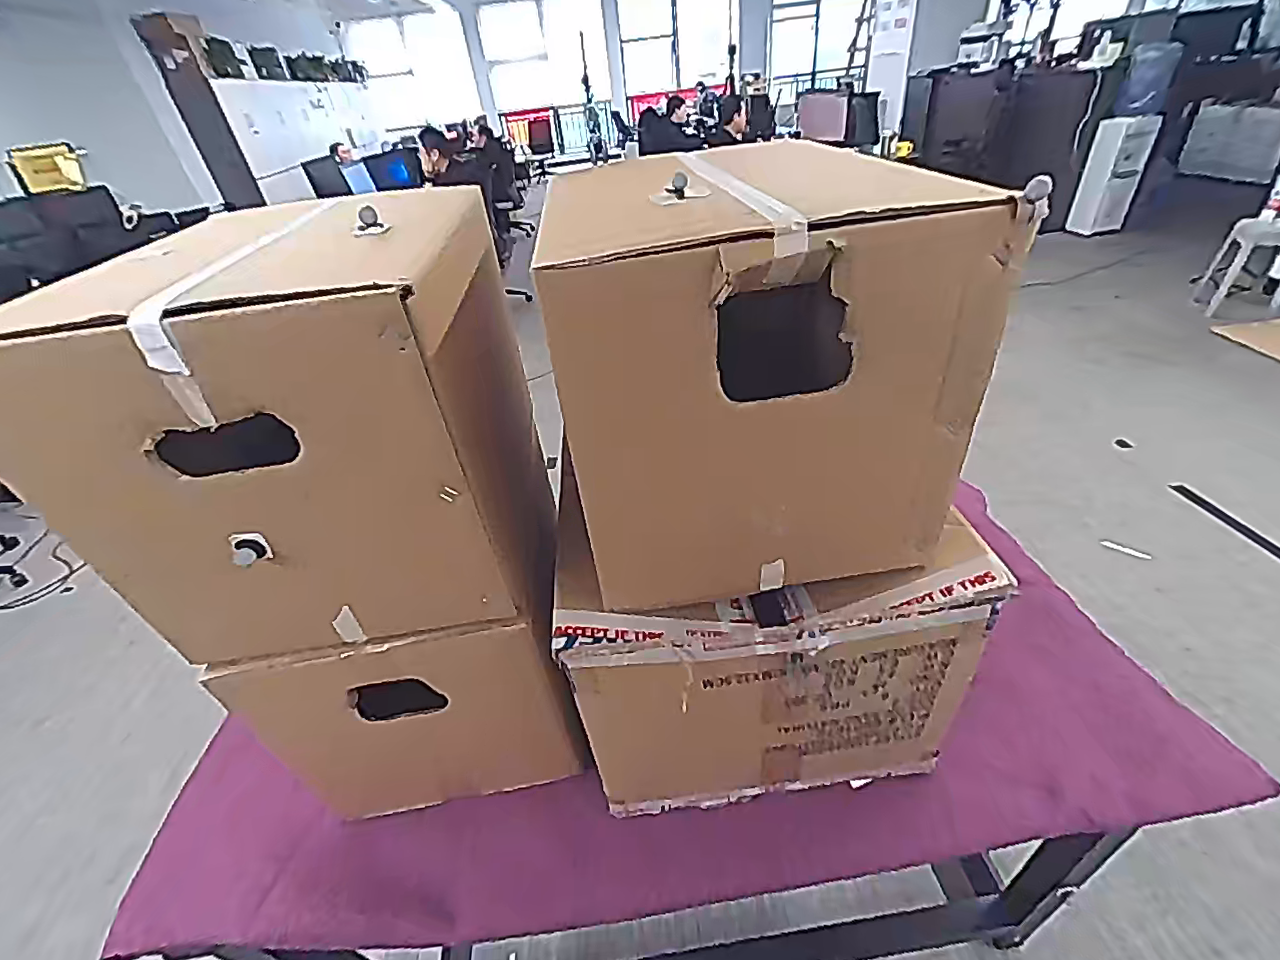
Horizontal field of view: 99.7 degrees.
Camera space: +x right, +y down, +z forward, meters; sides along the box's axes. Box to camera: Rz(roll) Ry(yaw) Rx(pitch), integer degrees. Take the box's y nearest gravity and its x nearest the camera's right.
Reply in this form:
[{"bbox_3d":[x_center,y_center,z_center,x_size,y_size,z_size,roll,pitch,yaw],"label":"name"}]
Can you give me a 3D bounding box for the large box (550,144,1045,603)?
[{"bbox_3d":[0.088,-0.140,0.570,0.320,0.320,0.408,-10,37,-1],"label":"large box"}]
